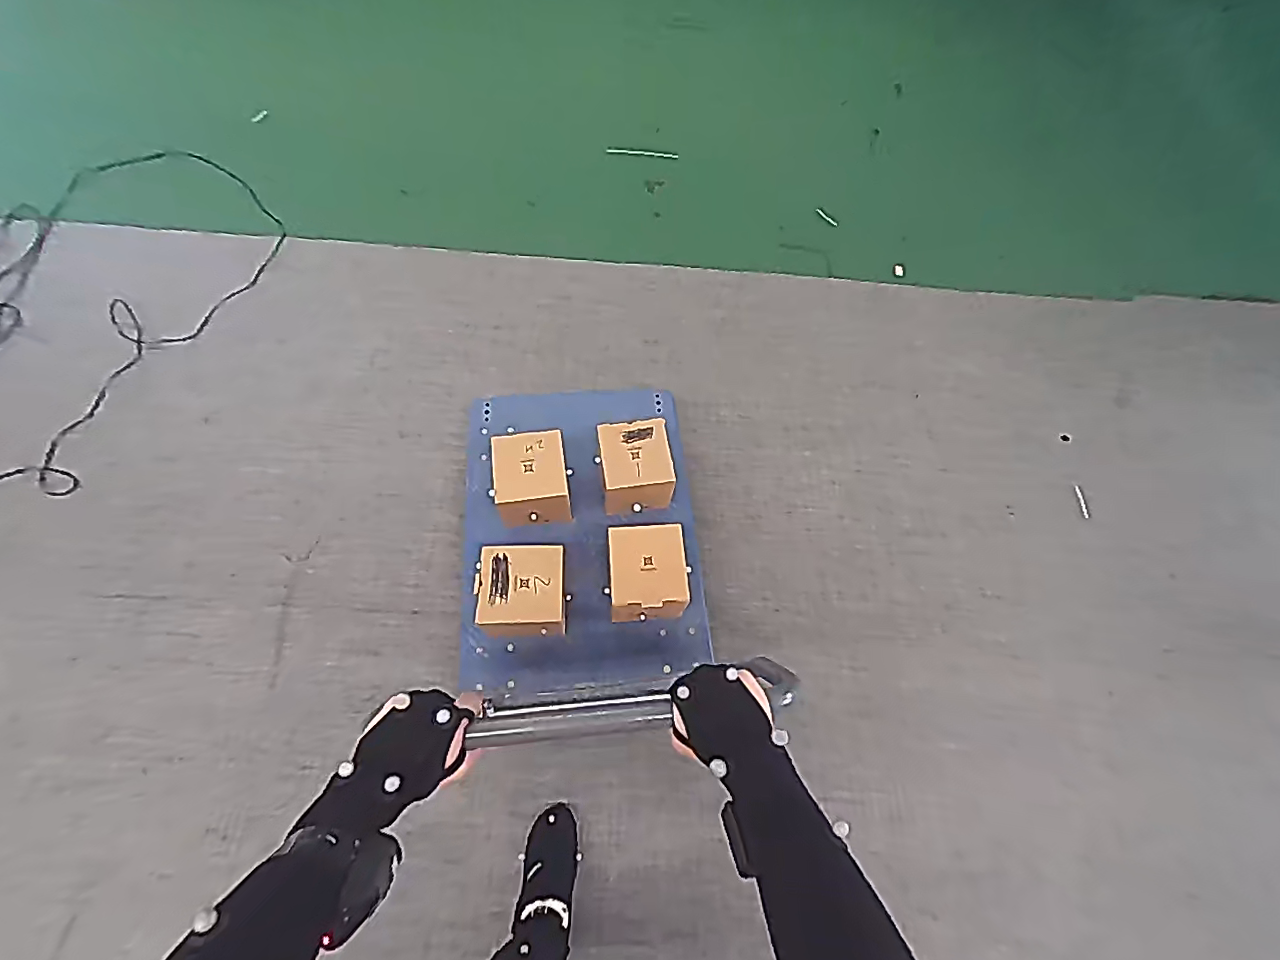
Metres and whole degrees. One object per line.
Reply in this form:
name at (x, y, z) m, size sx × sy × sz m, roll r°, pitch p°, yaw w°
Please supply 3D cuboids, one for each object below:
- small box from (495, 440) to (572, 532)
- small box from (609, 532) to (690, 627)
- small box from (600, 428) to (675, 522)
small box at (-0.261, 0.022, 1.342) m, size 0.168 × 0.176 × 0.179 m, roll -7°, pitch 64°, yaw -8°
small box at (0.014, 0.233, 1.258) m, size 0.168 × 0.176 × 0.179 m, roll -3°, pitch 64°, yaw -5°
small box at (-0.013, -0.010, 1.374) m, size 0.168 × 0.176 × 0.179 m, roll -7°, pitch 65°, yaw -6°
